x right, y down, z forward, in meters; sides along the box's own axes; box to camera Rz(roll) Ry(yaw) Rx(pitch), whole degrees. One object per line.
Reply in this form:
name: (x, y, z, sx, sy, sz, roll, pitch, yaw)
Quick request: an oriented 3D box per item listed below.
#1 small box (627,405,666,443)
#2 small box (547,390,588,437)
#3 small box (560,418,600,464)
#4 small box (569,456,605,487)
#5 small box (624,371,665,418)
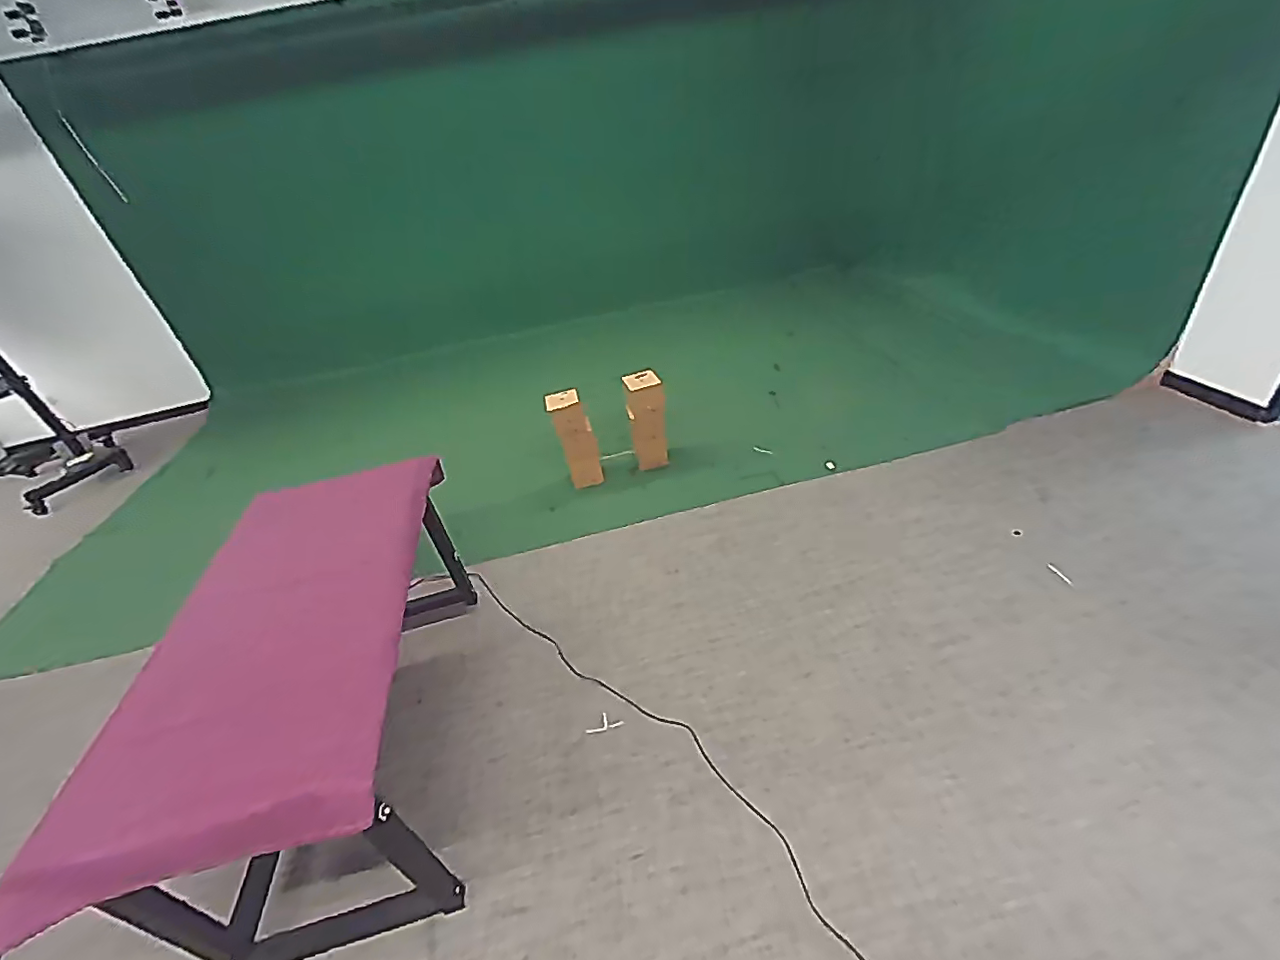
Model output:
small box: (0.034, -0.313, 2.924, 0.168, 0.176, 0.179, -14, 35, -5)
small box: (-0.375, -0.339, 2.796, 0.168, 0.176, 0.179, -15, 35, -3)
small box: (-0.325, -0.204, 2.879, 0.179, 0.176, 0.168, -15, 35, -4)
small box: (-0.295, -0.075, 2.977, 0.168, 0.176, 0.179, -15, 34, -4)
small box: (0.024, -0.447, 2.830, 0.168, 0.176, 0.179, -17, 38, -9)
